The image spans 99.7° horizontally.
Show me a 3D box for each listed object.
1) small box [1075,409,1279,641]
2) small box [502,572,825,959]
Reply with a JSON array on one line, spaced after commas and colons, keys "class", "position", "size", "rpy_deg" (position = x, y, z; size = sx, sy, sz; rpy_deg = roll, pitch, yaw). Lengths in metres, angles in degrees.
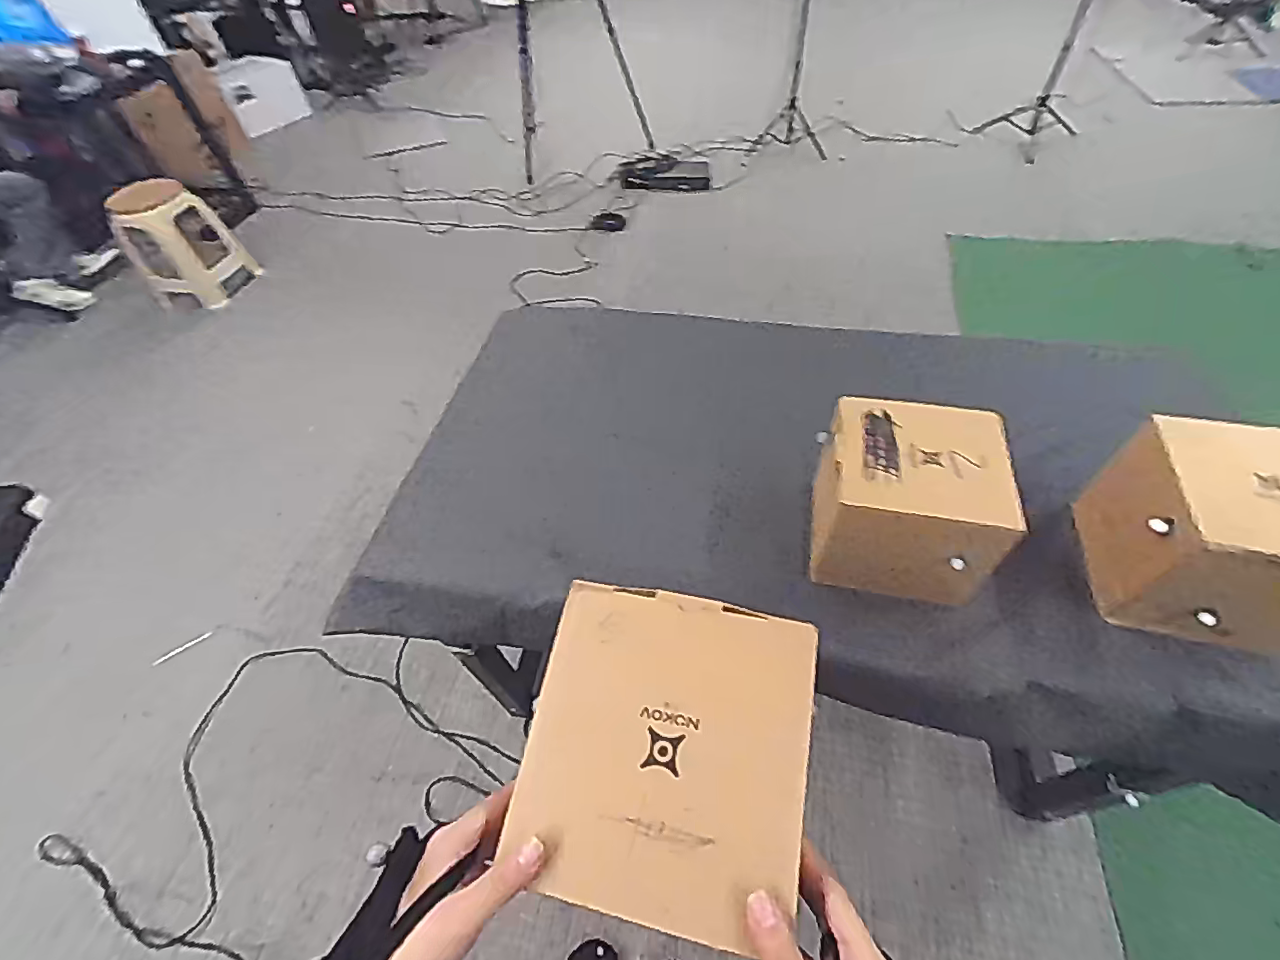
[{"class": "small box", "position": [0.625, 0.050, 0.595], "size": [0.168, 0.176, 0.179], "rpy_deg": [9, 53, 13]}, {"class": "small box", "position": [0.027, 0.187, 0.391], "size": [0.168, 0.176, 0.179], "rpy_deg": [8, 65, 12]}]
